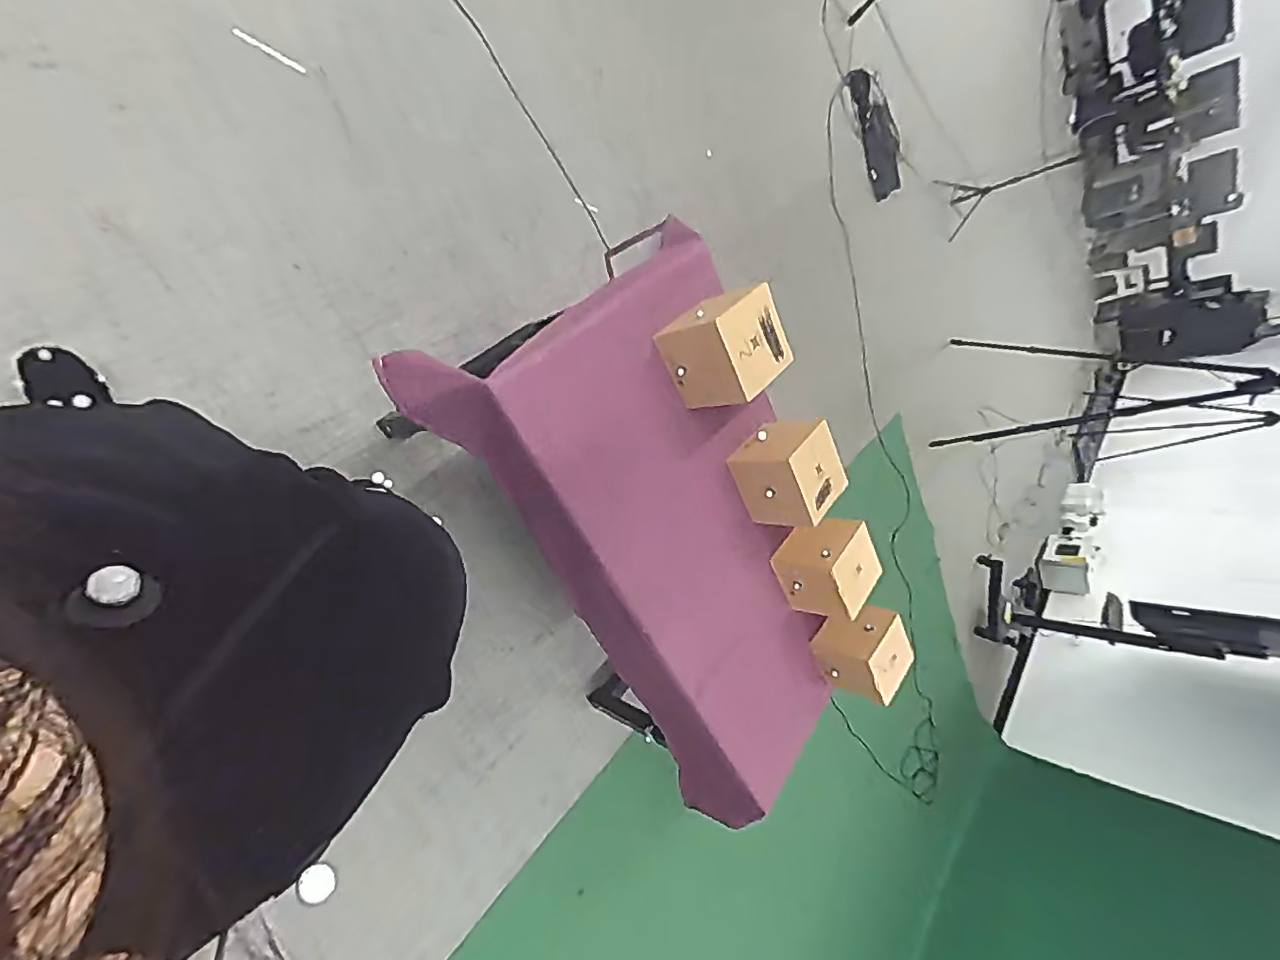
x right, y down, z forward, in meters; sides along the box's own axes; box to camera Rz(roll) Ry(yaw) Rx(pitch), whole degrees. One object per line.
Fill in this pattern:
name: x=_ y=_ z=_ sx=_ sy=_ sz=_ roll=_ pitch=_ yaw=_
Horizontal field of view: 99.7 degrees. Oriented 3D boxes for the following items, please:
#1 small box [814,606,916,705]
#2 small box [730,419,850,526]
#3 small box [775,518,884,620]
small box: x=0.590 y=0.444 z=1.420 sx=0.179 sy=0.176 sz=0.168 roll=-40 pitch=114 yaw=-29
small box: x=0.332 y=-0.019 z=1.206 sx=0.168 sy=0.176 sz=0.179 roll=-42 pitch=115 yaw=-31
small box: x=0.461 y=0.206 z=1.318 sx=0.179 sy=0.176 sz=0.168 roll=-43 pitch=116 yaw=-29
